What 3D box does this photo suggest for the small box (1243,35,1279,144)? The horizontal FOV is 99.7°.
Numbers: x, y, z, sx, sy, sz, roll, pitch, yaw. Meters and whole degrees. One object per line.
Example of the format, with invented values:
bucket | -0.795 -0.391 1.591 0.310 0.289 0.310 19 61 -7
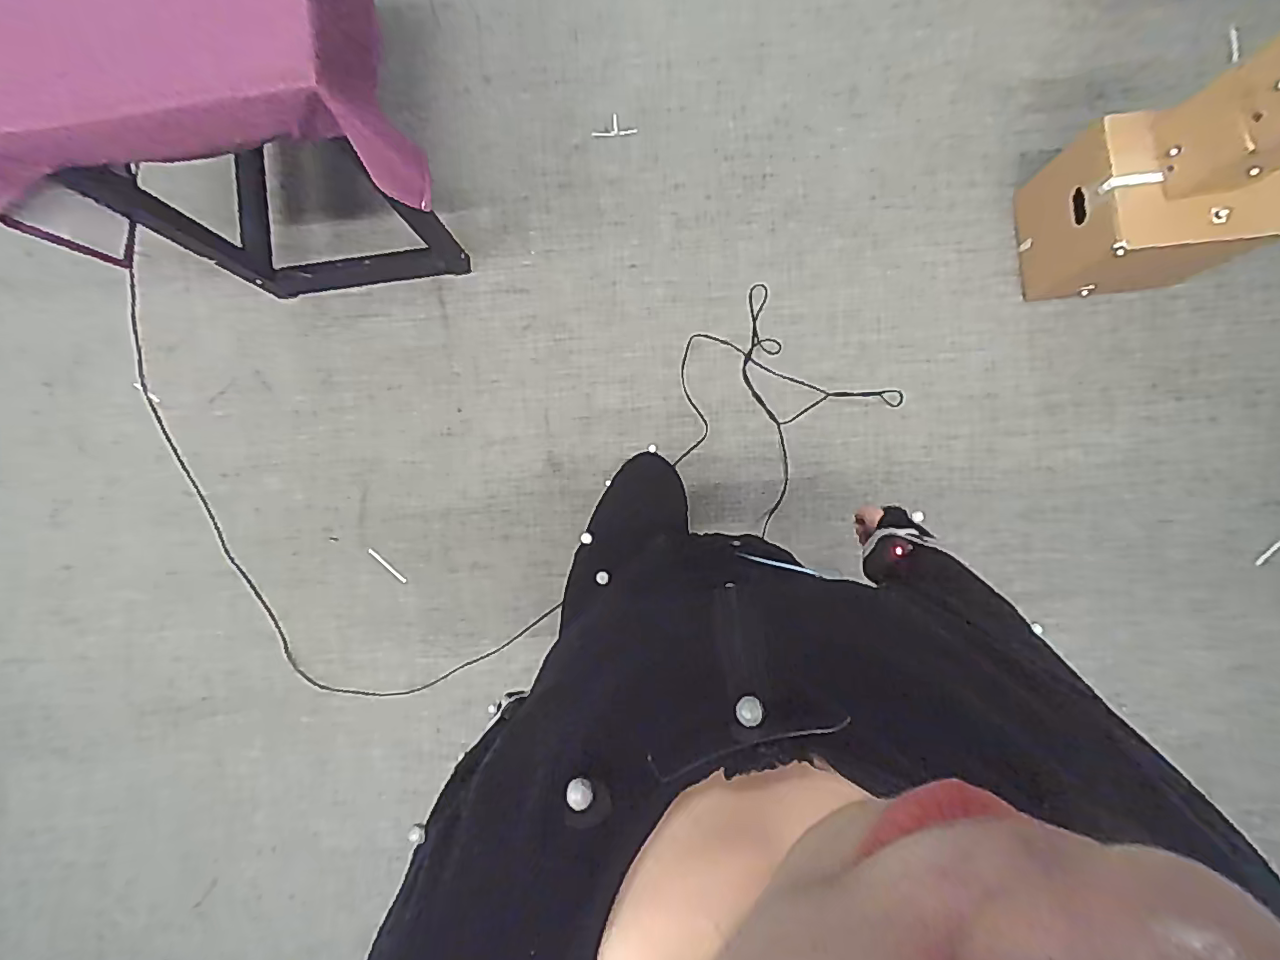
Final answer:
small box | 1.223 -0.724 0.939 0.179 0.176 0.168 -13 87 2
